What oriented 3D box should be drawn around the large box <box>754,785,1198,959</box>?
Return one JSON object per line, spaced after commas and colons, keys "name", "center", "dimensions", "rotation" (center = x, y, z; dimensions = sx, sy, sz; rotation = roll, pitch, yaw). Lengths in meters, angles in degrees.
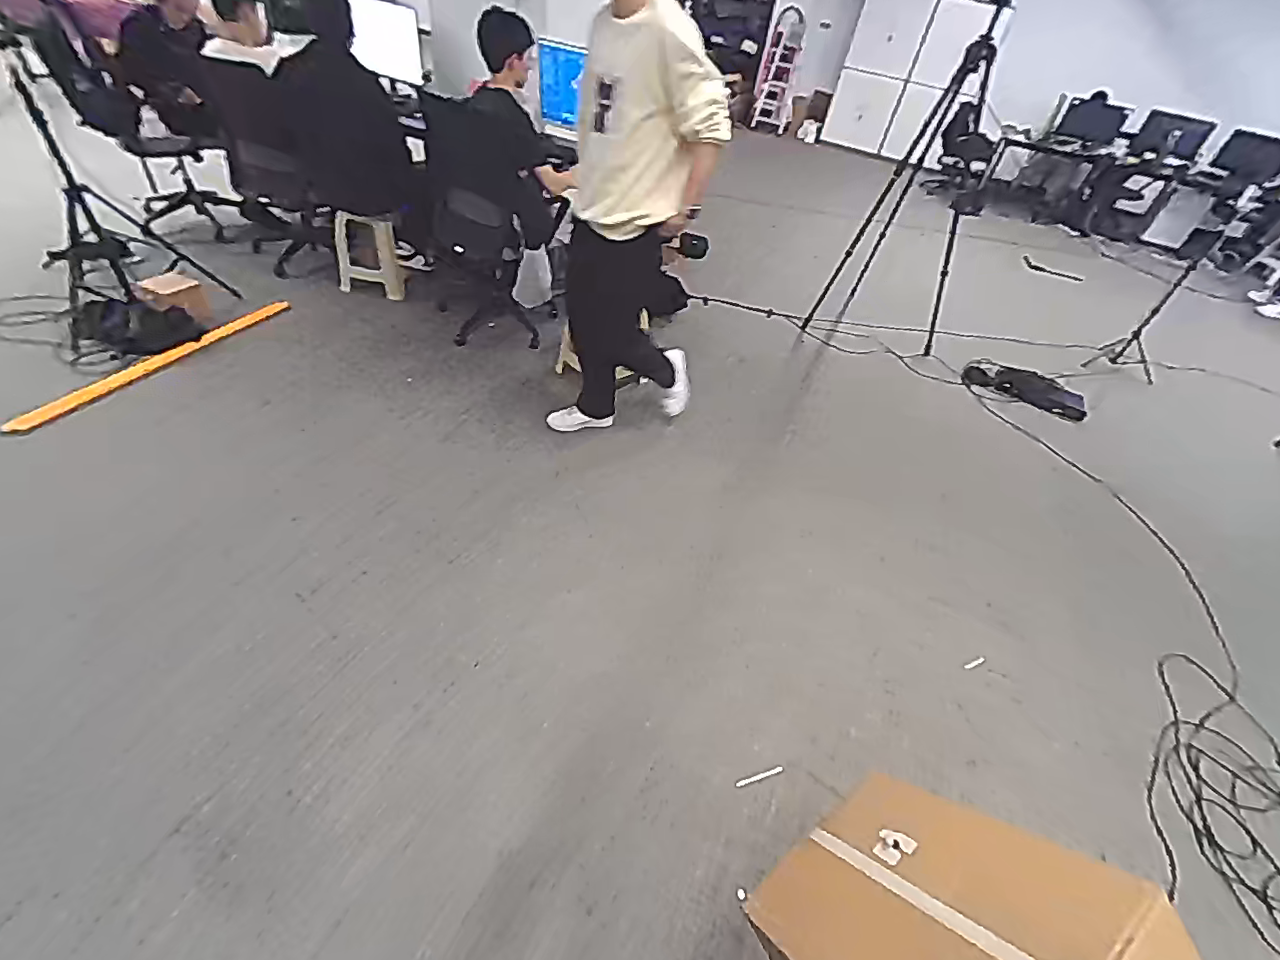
{"name": "large box", "center": [0.427, 0.669, 0.671], "dimensions": [0.320, 0.408, 0.320], "rotation": [-27, 87, -22]}
